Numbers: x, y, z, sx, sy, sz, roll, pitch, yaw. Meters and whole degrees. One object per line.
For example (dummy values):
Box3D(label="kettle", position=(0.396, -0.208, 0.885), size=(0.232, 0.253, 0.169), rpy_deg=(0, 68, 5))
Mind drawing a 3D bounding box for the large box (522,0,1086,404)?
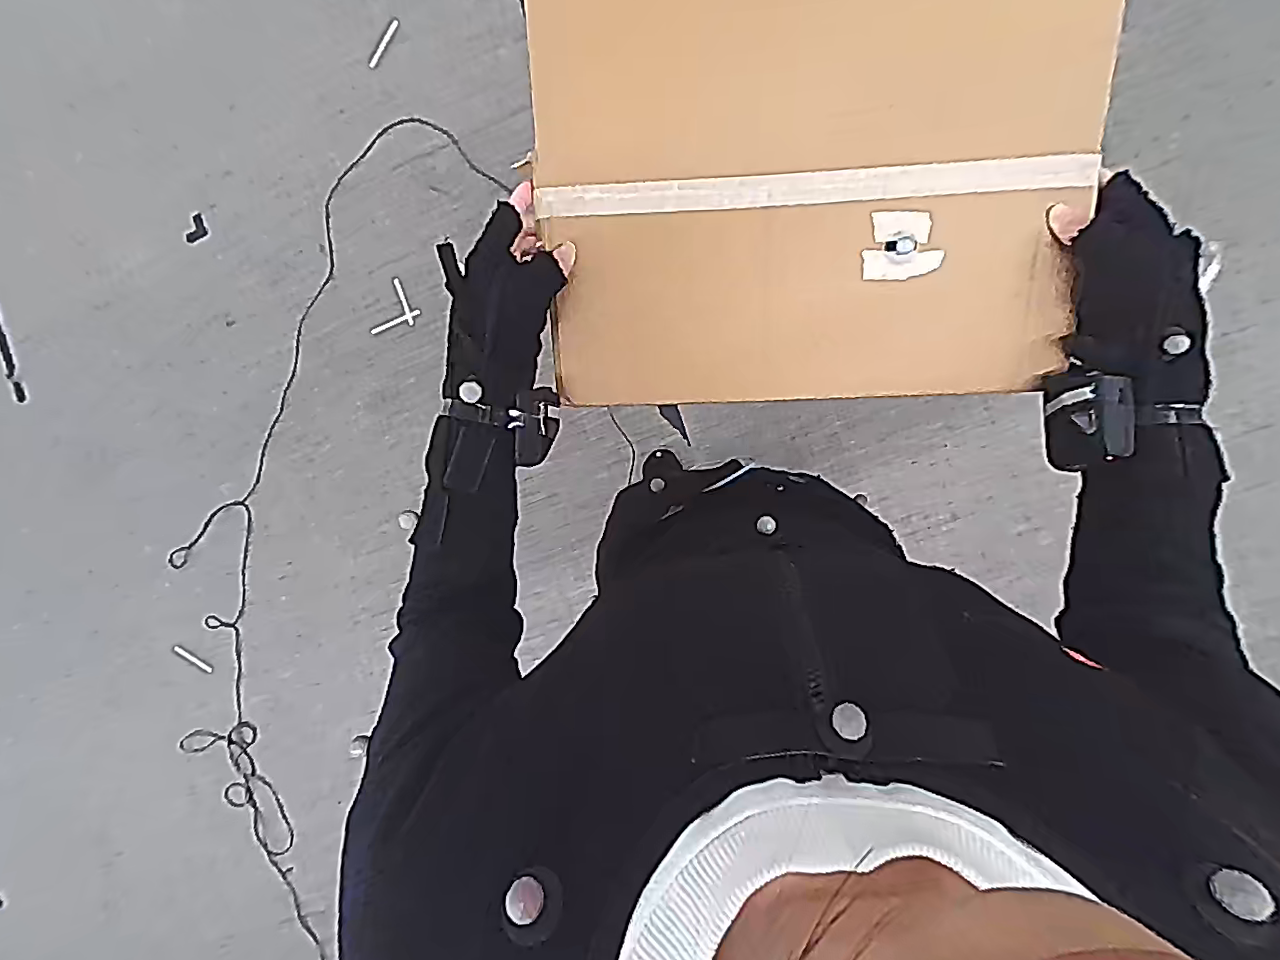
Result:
Box3D(label="large box", position=(0.125, -0.261, 0.560), size=(0.408, 0.320, 0.320), rpy_deg=(-2, 106, 3))
